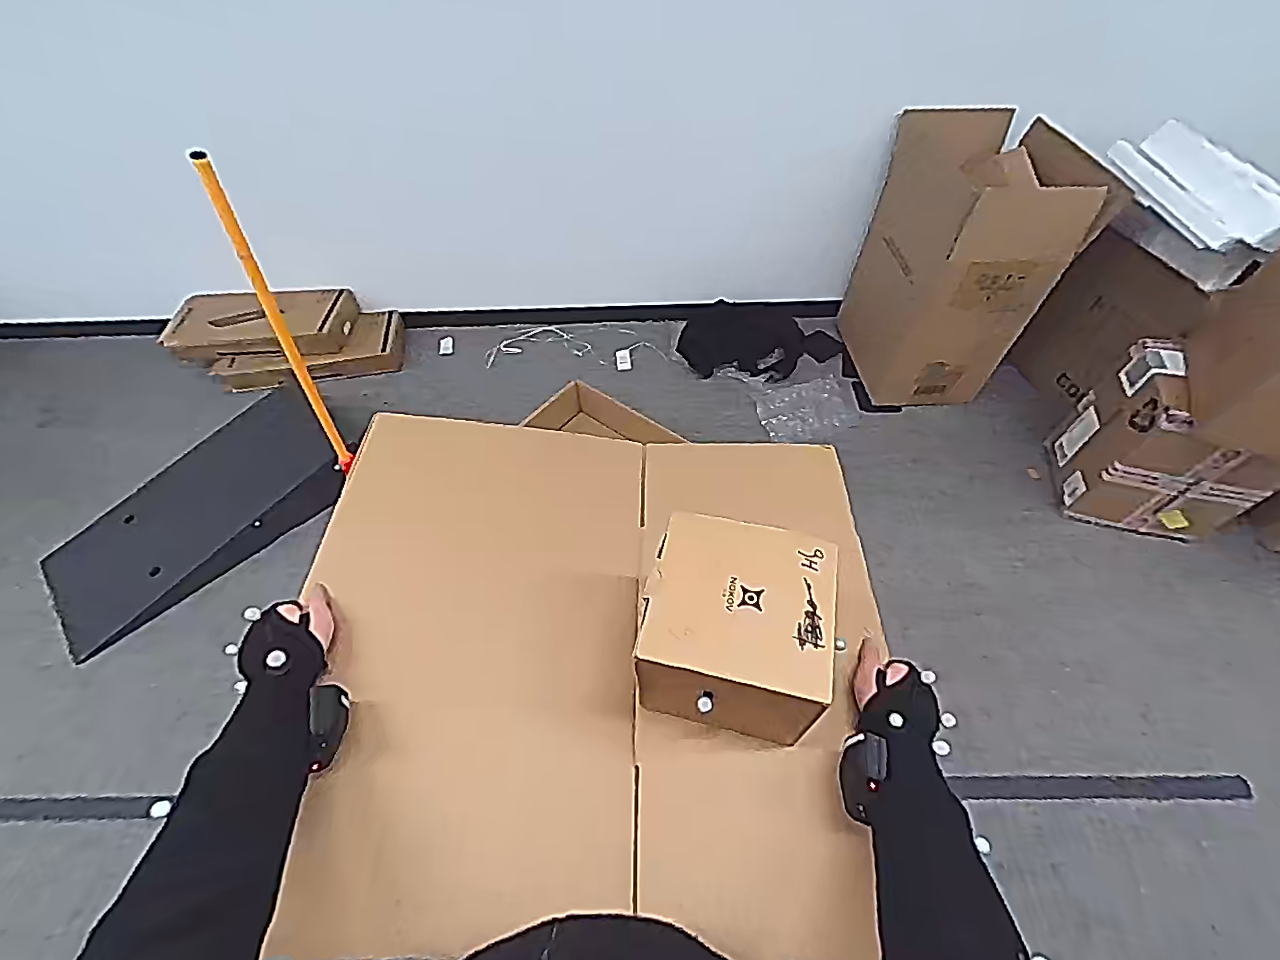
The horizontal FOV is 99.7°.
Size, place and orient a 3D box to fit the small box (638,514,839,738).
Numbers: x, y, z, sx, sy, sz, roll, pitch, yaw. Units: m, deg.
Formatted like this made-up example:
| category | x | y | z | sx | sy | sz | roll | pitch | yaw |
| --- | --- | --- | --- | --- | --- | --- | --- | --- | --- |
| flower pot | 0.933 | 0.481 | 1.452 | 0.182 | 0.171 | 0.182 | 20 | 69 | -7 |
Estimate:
| category | x | y | z | sx | sy | sz | roll | pitch | yaw |
| --- | --- | --- | --- | --- | --- | --- | --- | --- | --- |
| small box | 0.105 | 0.162 | 0.588 | 0.179 | 0.176 | 0.168 | 10 | 54 | 11 |
